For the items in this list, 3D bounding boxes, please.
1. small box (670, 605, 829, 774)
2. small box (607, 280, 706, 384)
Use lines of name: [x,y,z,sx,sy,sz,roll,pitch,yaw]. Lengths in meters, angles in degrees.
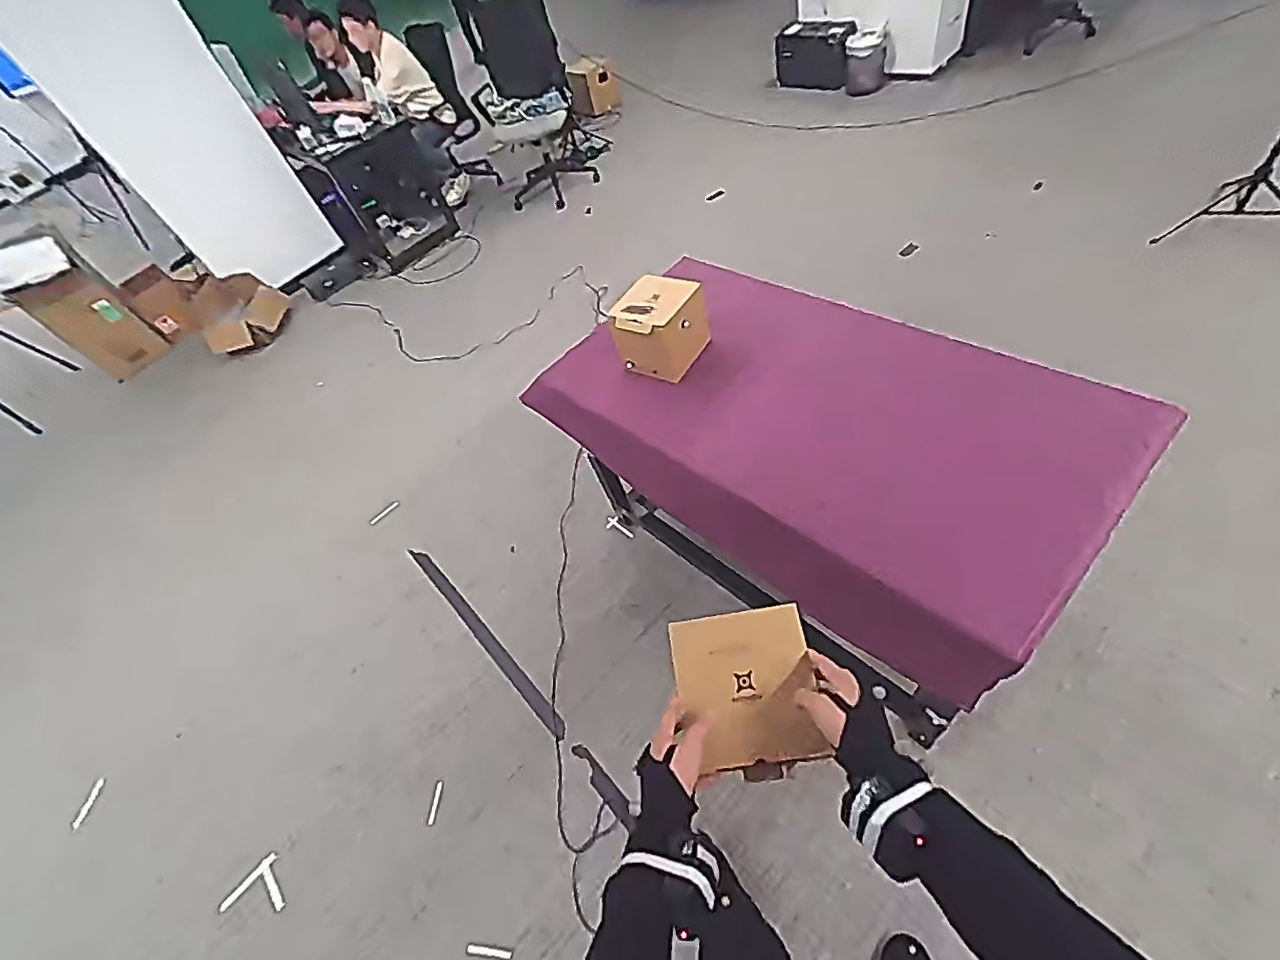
small box: [0.140,0.282,0.717,0.168,0.176,0.179,-10,60,6]
small box: [0.050,-0.364,1.337,0.168,0.176,0.179,21,61,29]
